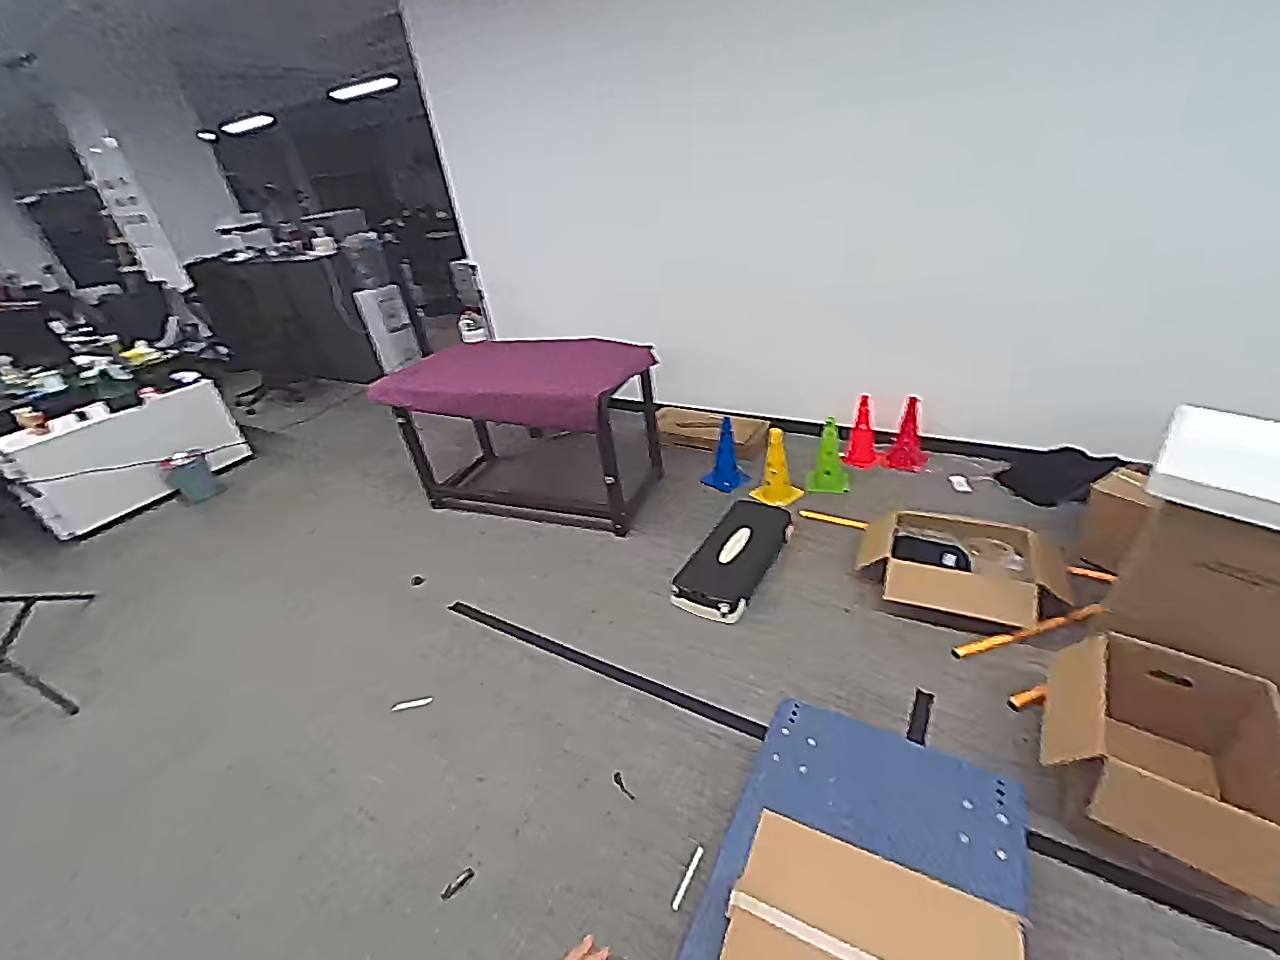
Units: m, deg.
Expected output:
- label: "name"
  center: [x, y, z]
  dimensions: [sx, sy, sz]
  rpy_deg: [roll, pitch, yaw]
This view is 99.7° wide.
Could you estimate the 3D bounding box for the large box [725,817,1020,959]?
- label: "large box"
  center: [0.354, 0.853, 0.883]
  dimensions: [0.408, 0.320, 0.320]
  rpy_deg: [10, 36, 25]
